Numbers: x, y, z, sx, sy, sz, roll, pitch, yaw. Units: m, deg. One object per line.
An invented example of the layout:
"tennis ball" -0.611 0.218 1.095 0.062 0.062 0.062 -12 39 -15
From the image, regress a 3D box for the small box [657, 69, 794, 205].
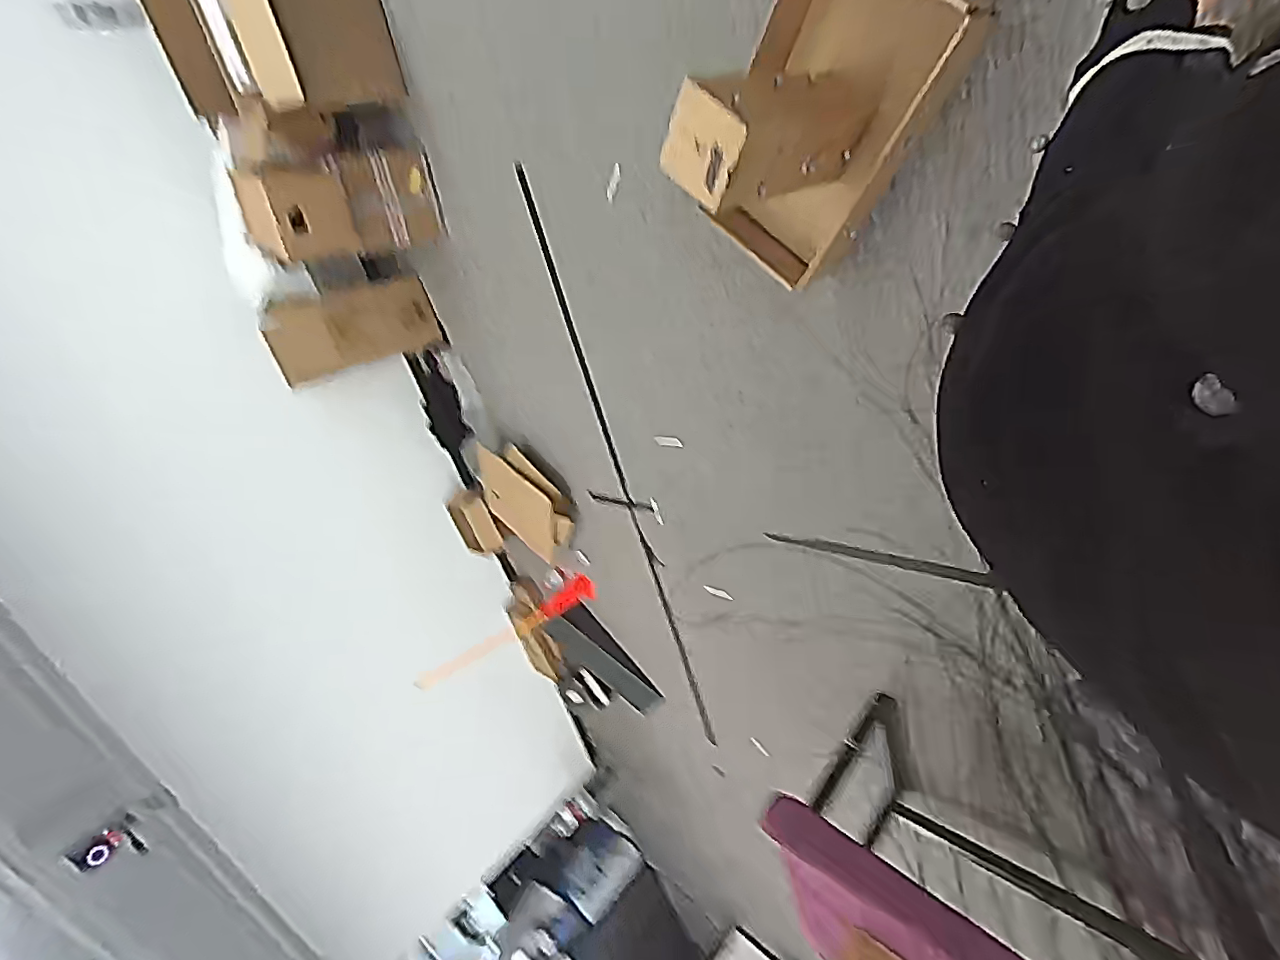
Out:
"small box" 0.171 -0.690 1.078 0.179 0.176 0.168 49 146 14

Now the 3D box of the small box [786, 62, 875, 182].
"small box" 0.402 -0.833 1.259 0.179 0.176 0.168 49 146 11

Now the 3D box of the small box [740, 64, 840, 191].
"small box" 0.289 -0.761 1.168 0.179 0.176 0.168 48 146 12
